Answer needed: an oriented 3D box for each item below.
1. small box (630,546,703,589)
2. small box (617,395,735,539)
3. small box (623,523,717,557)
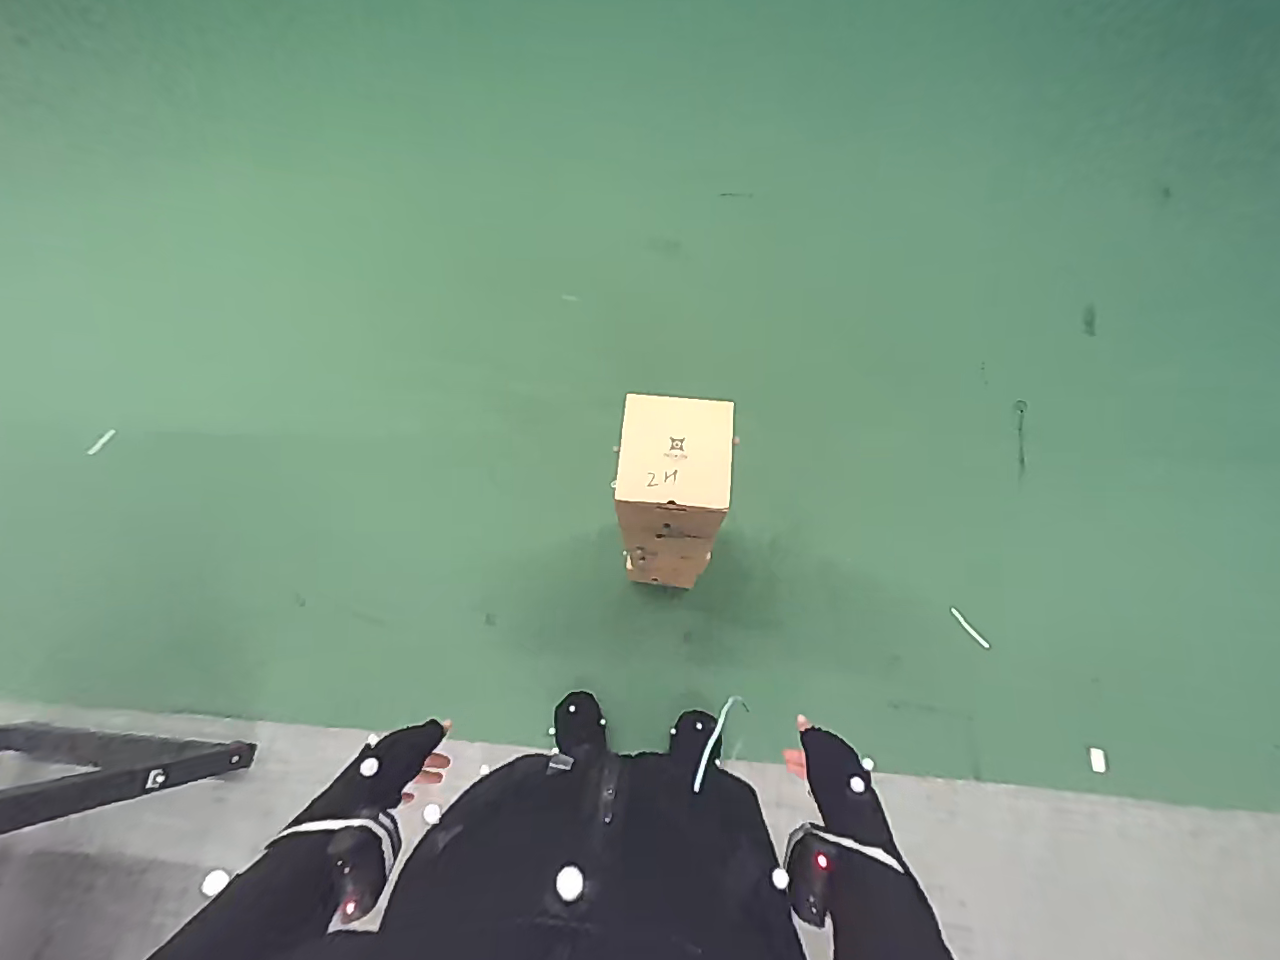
[{"bbox_3d":[0.069,0.163,1.335,0.168,0.176,0.179,7,72,3],"label":"small box"},{"bbox_3d":[0.056,-0.015,0.873,0.168,0.176,0.179,5,71,3],"label":"small box"},{"bbox_3d":[0.064,0.041,1.029,0.168,0.176,0.179,6,70,3],"label":"small box"}]
